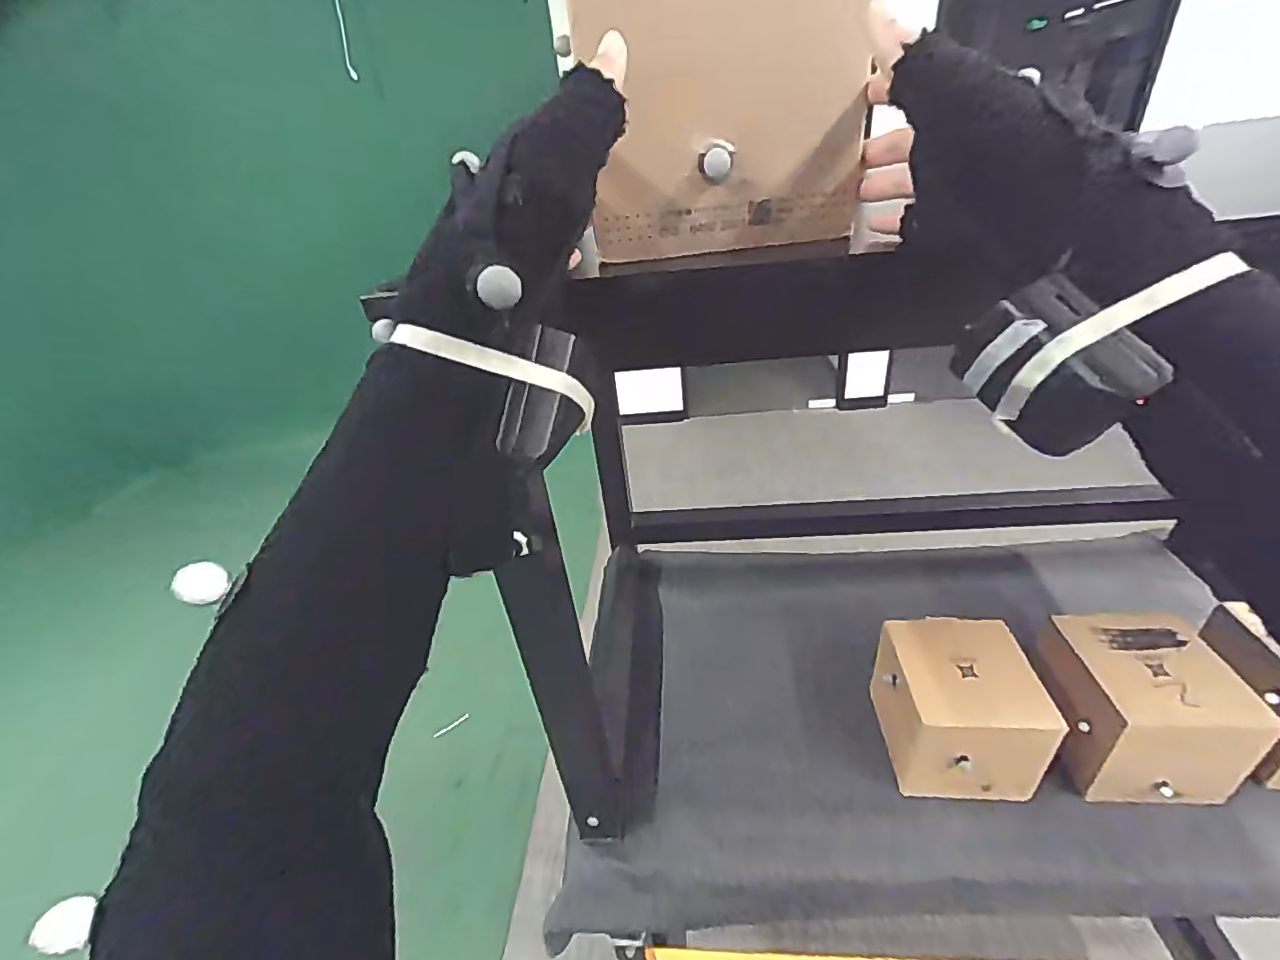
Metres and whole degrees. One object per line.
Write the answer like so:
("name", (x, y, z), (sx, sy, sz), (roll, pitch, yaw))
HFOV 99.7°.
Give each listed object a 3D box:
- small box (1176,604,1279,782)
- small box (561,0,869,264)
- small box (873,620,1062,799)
("small box", (0.890, 0.287, 0.718), (0.168, 0.176, 0.179), (-1, 31, 9))
("small box", (0.040, -0.255, 0.375), (0.168, 0.176, 0.179), (-6, 32, 1))
("small box", (0.440, 0.321, 0.762), (0.168, 0.176, 0.179), (-2, 32, 8))
